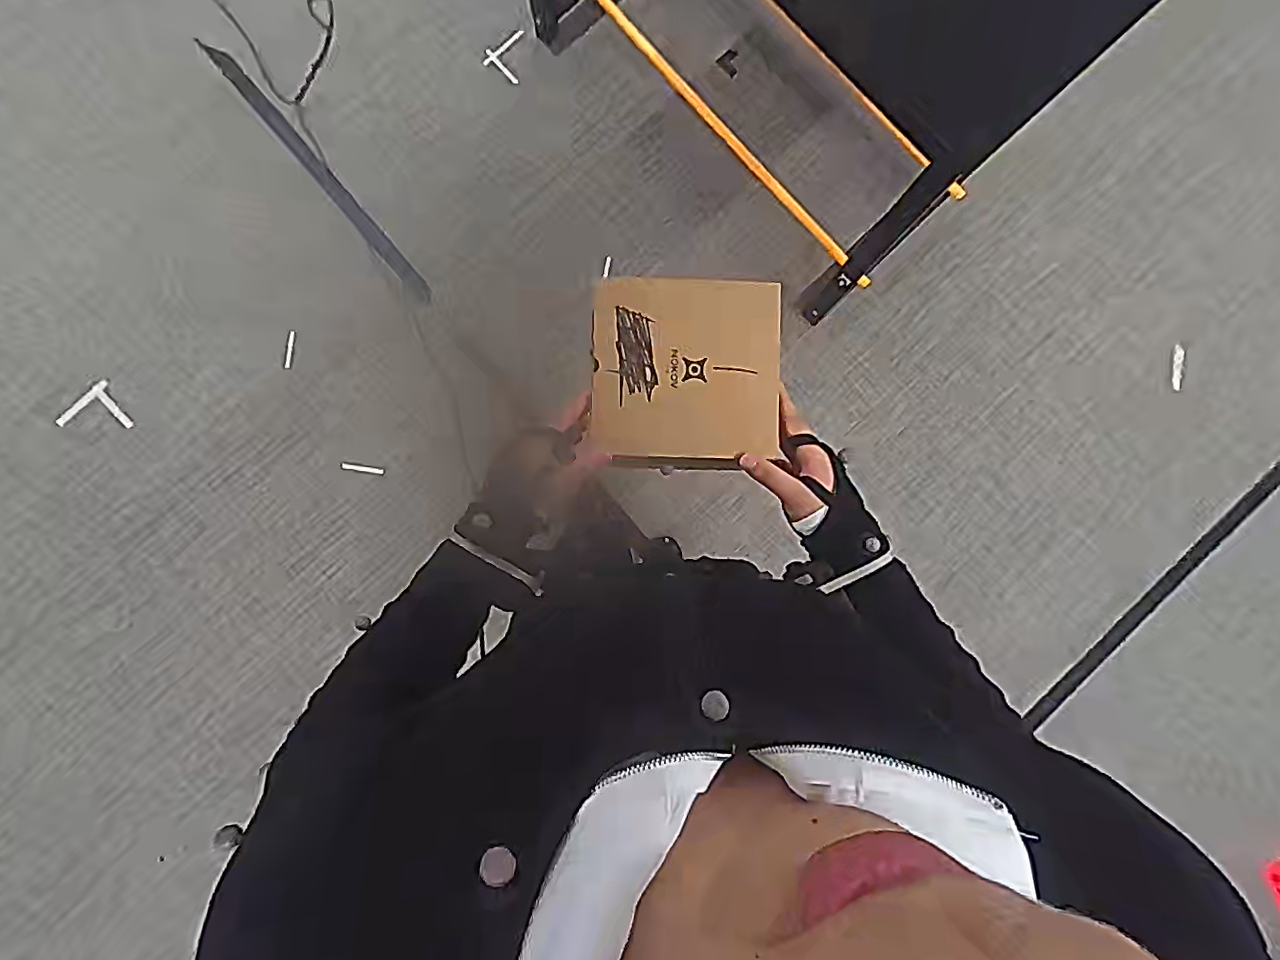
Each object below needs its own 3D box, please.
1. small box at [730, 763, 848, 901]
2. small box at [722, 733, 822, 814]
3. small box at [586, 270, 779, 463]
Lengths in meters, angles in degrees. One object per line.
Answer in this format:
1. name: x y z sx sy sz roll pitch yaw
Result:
1. small box: 0.326 0.782 1.230 0.179 0.176 0.168 41 87 2
2. small box: 0.328 0.799 1.393 0.168 0.176 0.179 42 87 1
3. small box: 0.038 -0.106 0.572 0.179 0.176 0.168 1 88 -2
